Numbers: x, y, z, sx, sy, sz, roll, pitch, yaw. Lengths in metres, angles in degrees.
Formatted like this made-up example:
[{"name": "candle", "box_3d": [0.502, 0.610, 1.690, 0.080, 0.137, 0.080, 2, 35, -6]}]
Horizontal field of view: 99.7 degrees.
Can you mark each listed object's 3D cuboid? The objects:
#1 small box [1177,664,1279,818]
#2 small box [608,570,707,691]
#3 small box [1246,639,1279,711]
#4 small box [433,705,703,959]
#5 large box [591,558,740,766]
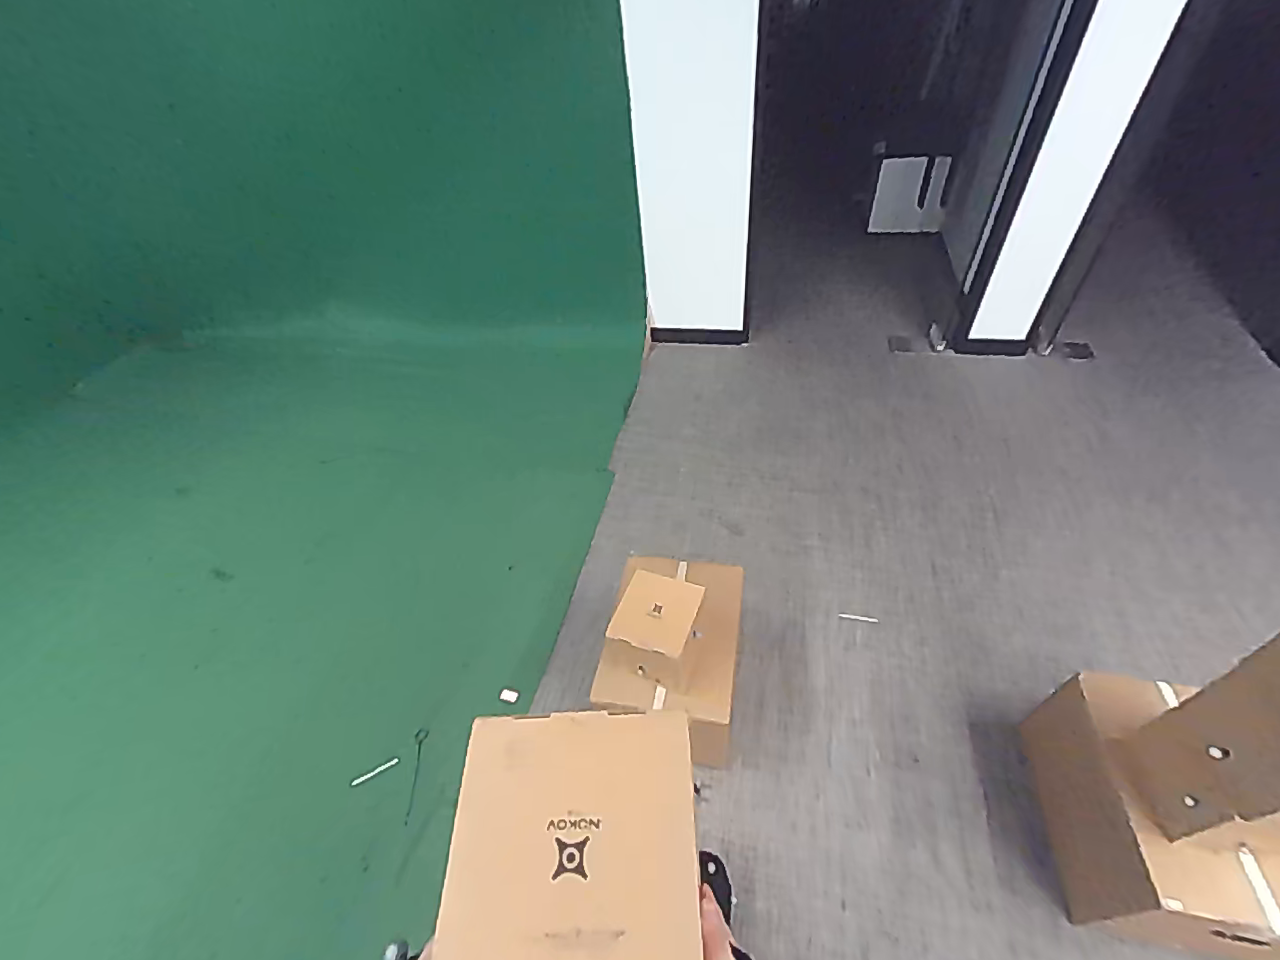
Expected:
[{"name": "small box", "box_3d": [0.975, 0.389, 0.797, 0.168, 0.176, 0.179, -2, 47, 7]}, {"name": "small box", "box_3d": [0.046, 0.333, 1.199, 0.168, 0.176, 0.179, 12, 50, 20]}, {"name": "small box", "box_3d": [0.955, 0.273, 0.680, 0.168, 0.176, 0.179, -3, 46, 7]}, {"name": "small box", "box_3d": [-0.037, 0.293, 0.424, 0.168, 0.176, 0.179, -4, 51, 4]}, {"name": "large box", "box_3d": [0.090, 0.467, 1.406, 0.320, 0.320, 0.408, 4, 46, 12]}]
